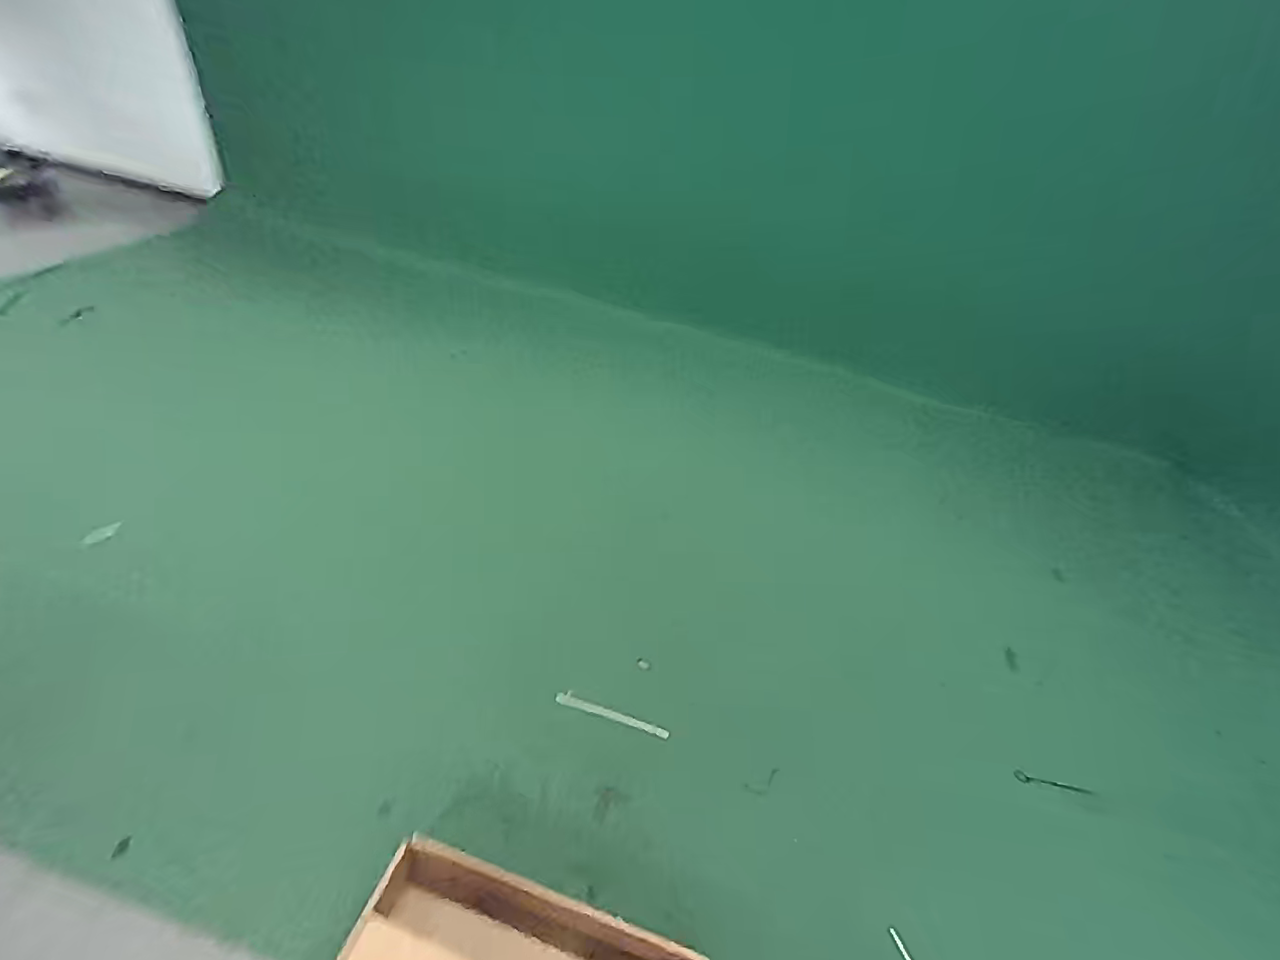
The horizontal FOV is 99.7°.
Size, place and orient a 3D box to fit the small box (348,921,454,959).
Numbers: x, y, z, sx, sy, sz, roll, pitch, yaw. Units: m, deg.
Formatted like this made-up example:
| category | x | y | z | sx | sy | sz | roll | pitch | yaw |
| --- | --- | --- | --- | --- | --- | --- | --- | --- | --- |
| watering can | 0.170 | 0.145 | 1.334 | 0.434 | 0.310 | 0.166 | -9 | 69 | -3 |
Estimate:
| category | x | y | z | sx | sy | sz | roll | pitch | yaw |
| --- | --- | --- | --- | --- | --- | --- | --- | --- | --- |
| small box | -0.343 | 0.765 | 0.758 | 0.179 | 0.176 | 0.168 | 18 | 40 | 7 |
